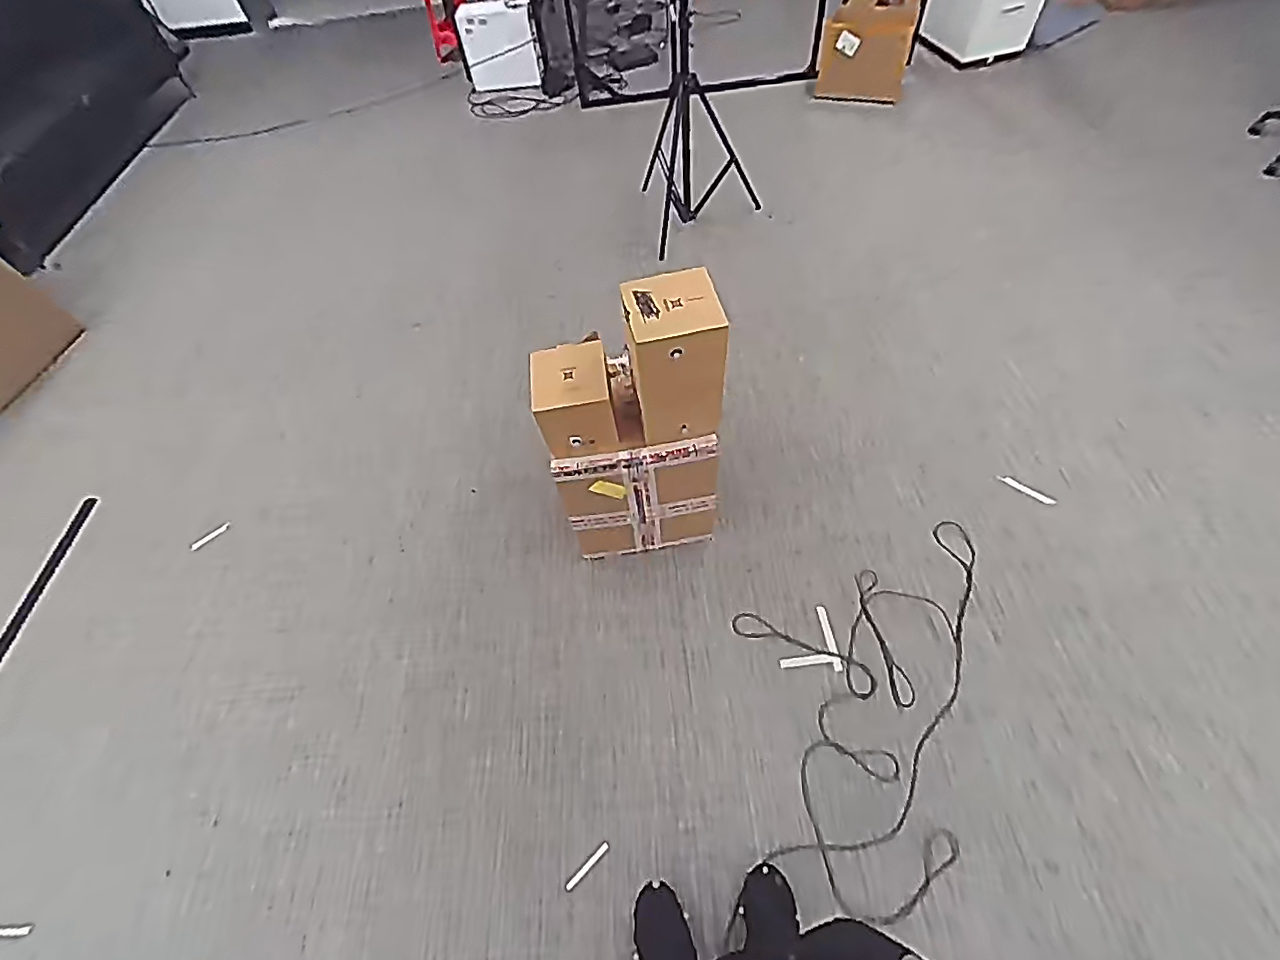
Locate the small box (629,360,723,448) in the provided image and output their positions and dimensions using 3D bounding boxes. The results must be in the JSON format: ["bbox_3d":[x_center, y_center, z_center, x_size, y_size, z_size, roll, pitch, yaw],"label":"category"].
[{"bbox_3d":[0.076,-0.195,1.228,0.179,0.176,0.168,-12,59,-3],"label":"small box"}]

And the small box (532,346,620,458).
[{"bbox_3d":[-0.145,-0.174,1.236,0.168,0.176,0.179,-10,60,2],"label":"small box"}]

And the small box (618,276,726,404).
[{"bbox_3d":[0.064,-0.274,1.083,0.179,0.176,0.168,-12,60,-3],"label":"small box"}]
